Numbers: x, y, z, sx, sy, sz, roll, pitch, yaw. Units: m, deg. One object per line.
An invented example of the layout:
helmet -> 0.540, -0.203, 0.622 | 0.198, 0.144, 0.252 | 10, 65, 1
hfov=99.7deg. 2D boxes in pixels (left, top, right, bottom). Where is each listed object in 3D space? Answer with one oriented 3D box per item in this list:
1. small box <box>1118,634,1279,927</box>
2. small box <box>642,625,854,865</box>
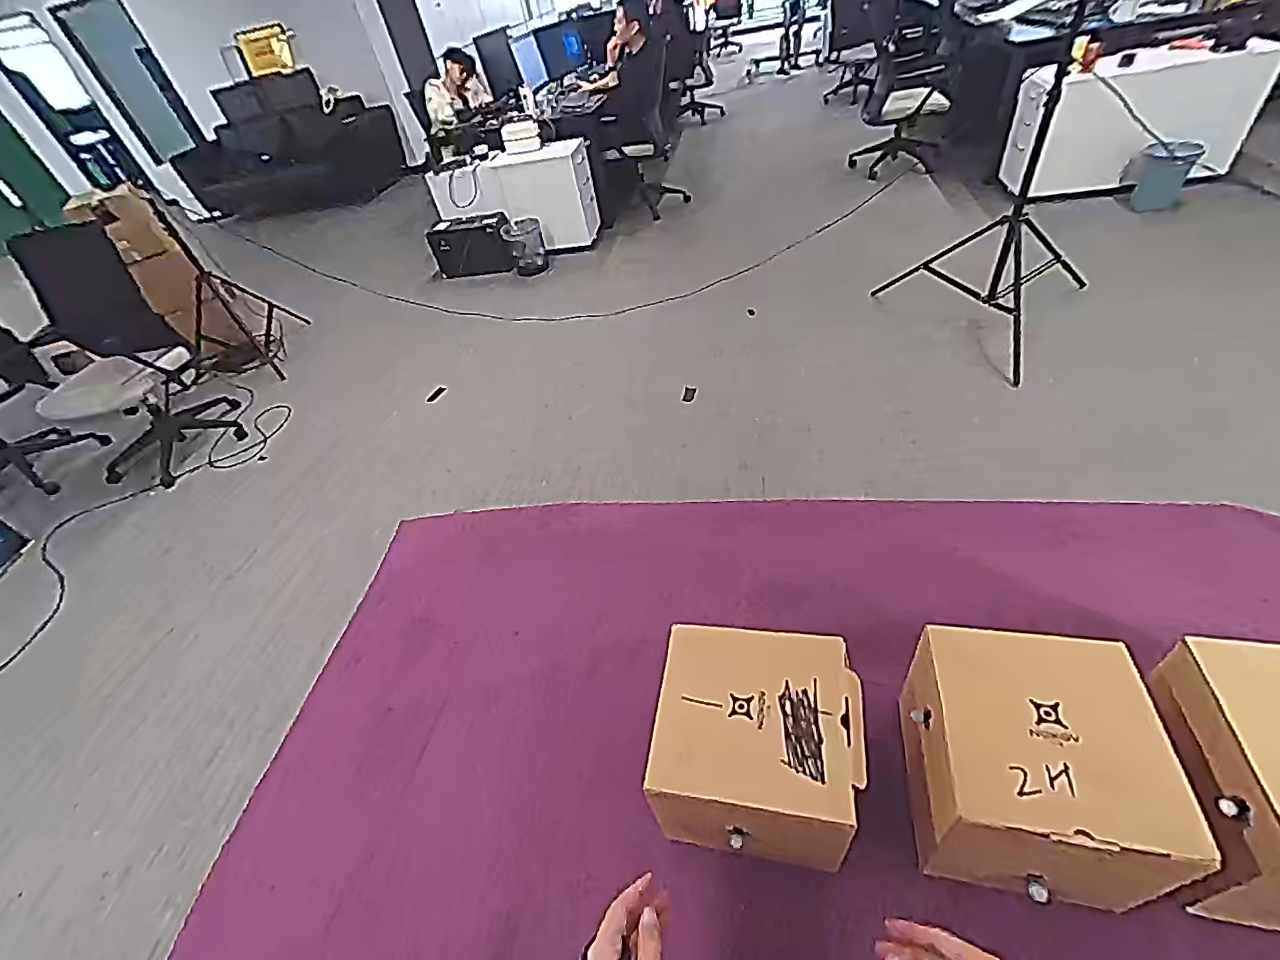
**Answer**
small box -> 0.559, 0.258, 0.456 | 0.168, 0.176, 0.179 | 1, 44, 16
small box -> 0.116, 0.271, 0.555 | 0.179, 0.176, 0.168 | 1, 45, 16
